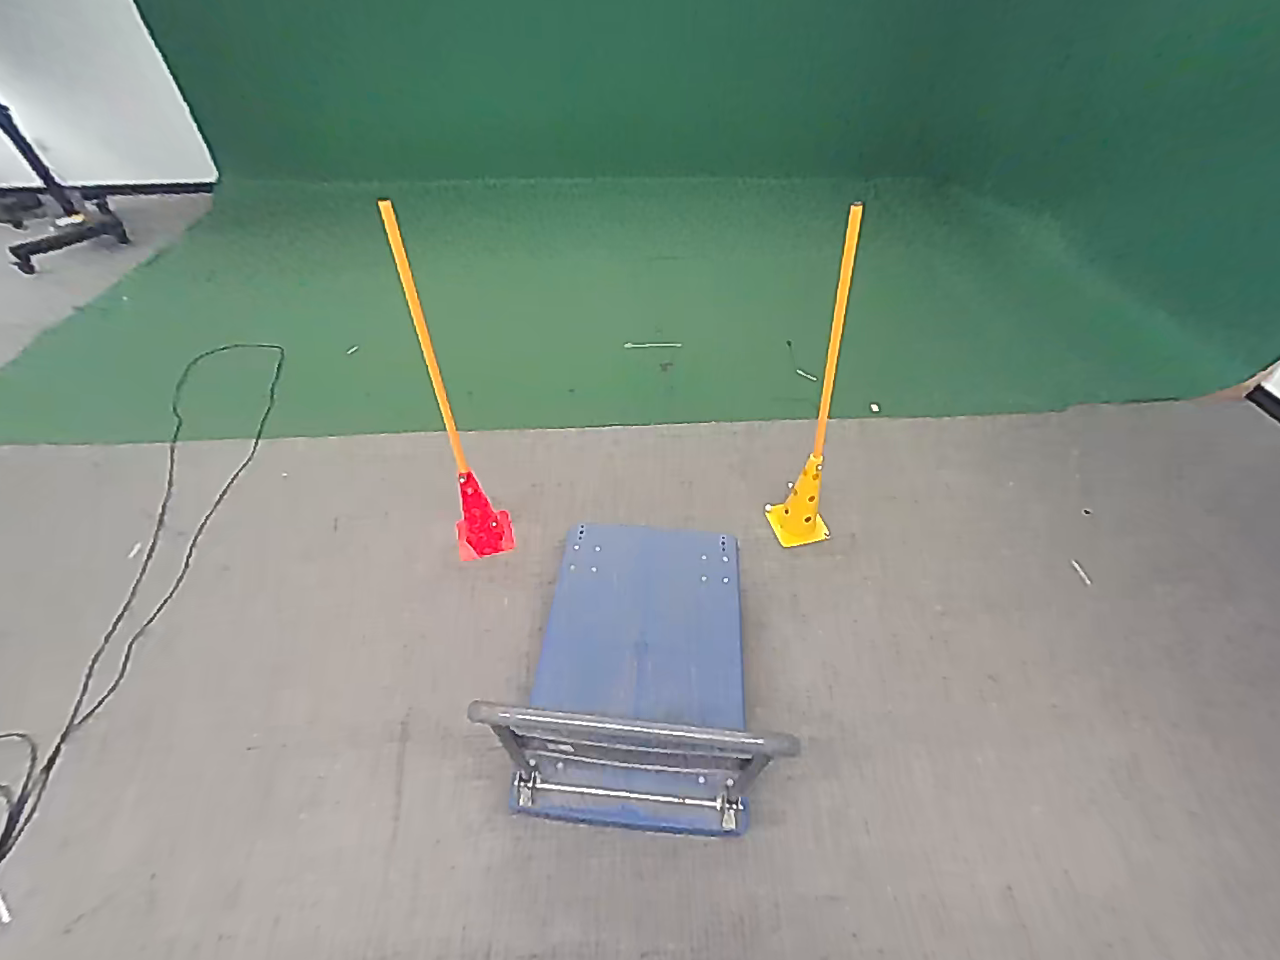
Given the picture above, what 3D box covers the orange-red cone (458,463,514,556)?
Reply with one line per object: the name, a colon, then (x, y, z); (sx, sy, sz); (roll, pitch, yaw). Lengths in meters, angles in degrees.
orange-red cone: (-0.584, 0.077, 1.917); (0.199, 0.360, 0.198); (-14, 48, -10)
